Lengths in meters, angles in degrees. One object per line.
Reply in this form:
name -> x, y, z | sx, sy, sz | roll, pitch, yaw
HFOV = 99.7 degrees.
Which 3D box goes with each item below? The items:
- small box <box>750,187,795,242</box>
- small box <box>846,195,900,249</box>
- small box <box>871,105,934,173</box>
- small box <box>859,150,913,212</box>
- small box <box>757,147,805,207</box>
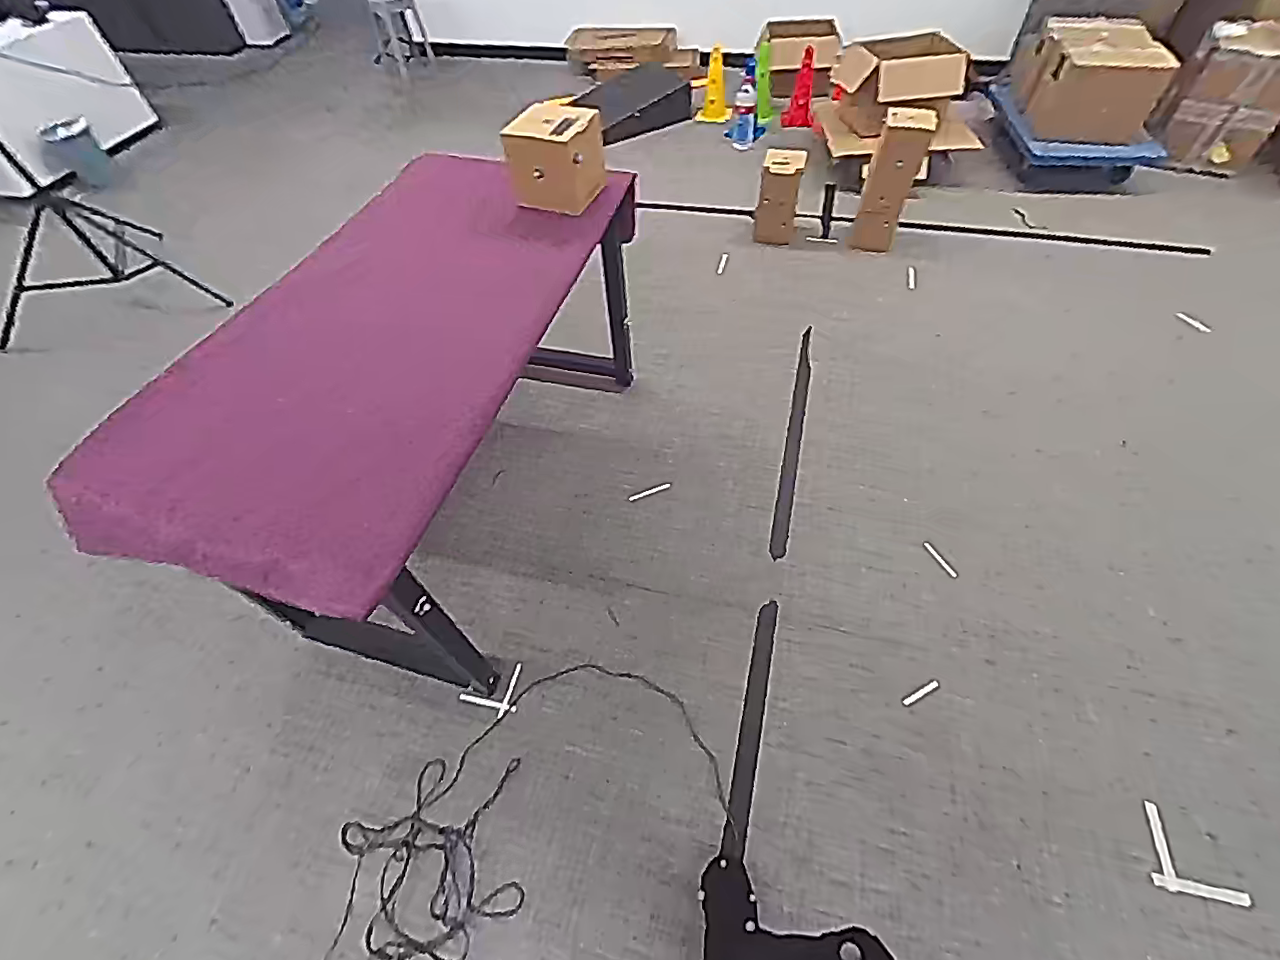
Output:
small box -> 0.603, -1.205, 2.456 | 0.179, 0.176, 0.168 | 8, 55, 10
small box -> 1.032, -1.150, 2.394 | 0.179, 0.176, 0.168 | 15, 56, 12
small box -> 1.032, -1.339, 2.128 | 0.179, 0.176, 0.168 | 13, 57, 10
small box -> 1.029, -1.254, 2.269 | 0.168, 0.176, 0.179 | 11, 57, 9
small box -> 0.602, -1.300, 2.321 | 0.168, 0.176, 0.179 | 11, 54, 10
